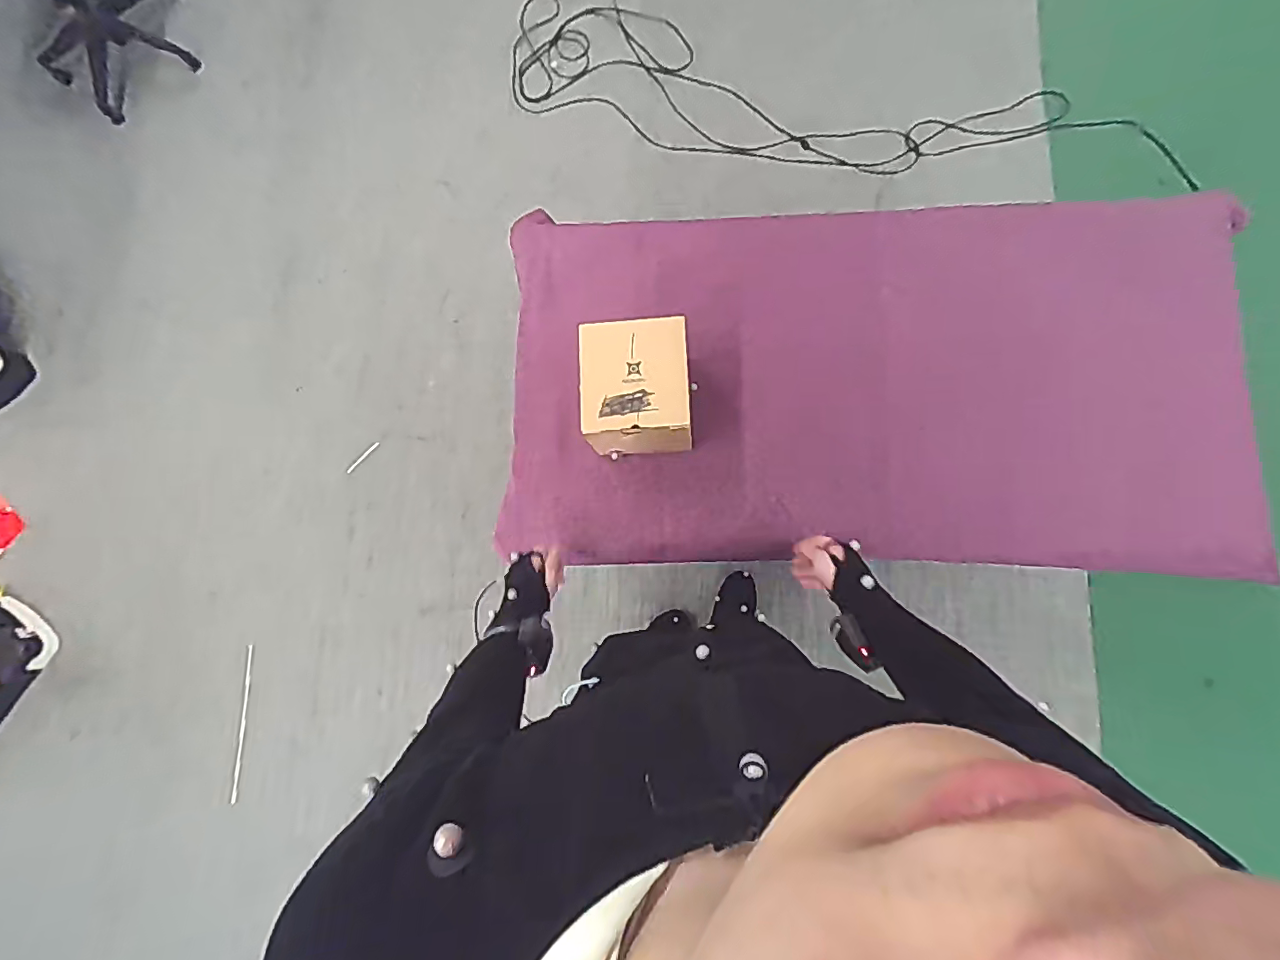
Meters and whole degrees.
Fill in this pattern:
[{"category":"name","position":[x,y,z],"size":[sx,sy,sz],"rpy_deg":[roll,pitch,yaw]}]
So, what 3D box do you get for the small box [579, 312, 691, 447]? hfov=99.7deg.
[{"category":"small box","position":[-0.002,-0.153,0.886],"size":[0.168,0.176,0.179],"rpy_deg":[-3,80,5]}]
